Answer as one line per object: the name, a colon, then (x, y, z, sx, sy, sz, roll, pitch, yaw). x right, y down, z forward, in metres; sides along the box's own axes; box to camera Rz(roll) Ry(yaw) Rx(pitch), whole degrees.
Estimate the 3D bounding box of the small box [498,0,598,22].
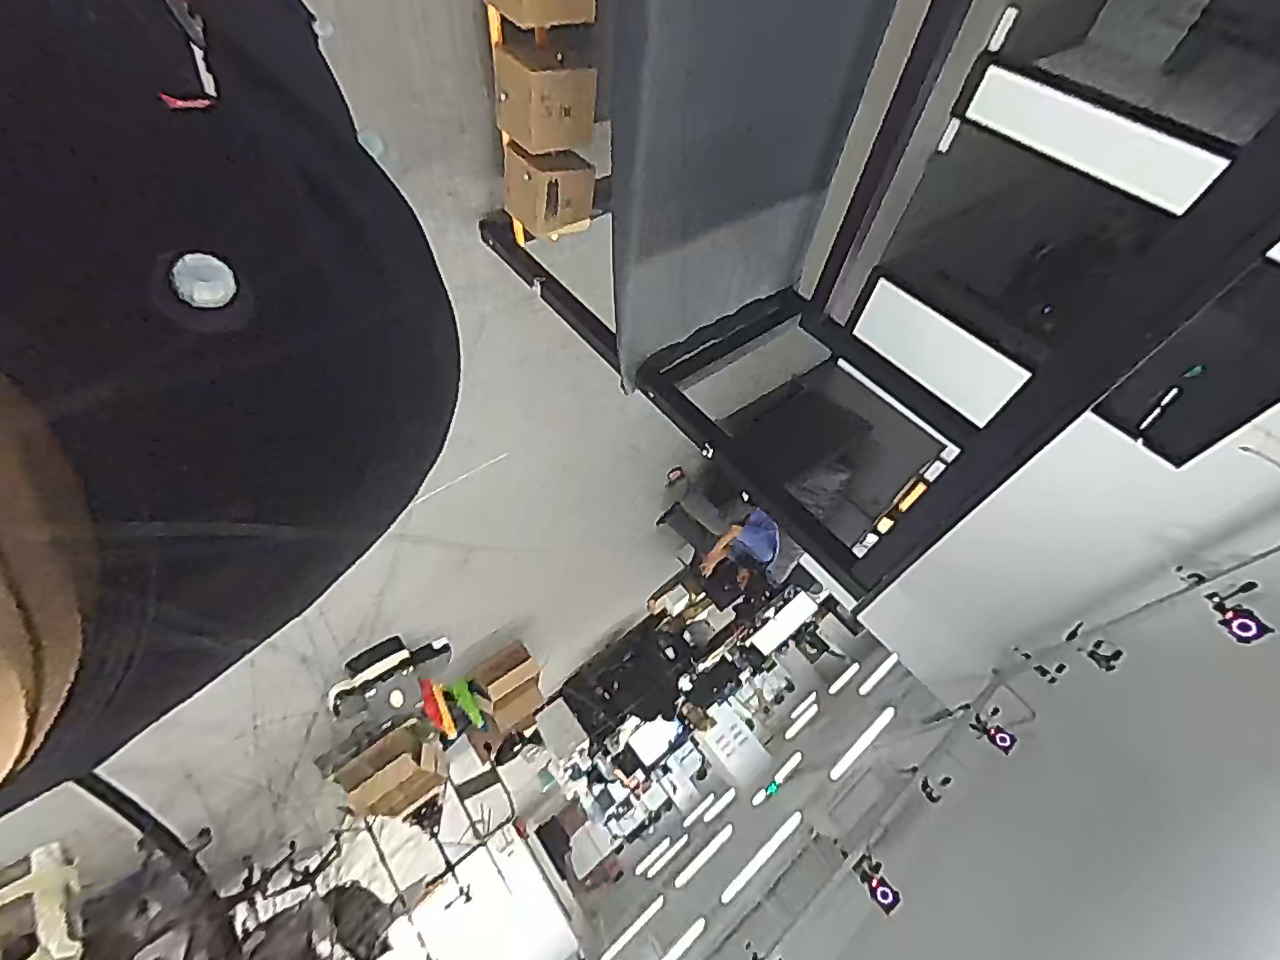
small box: (-0.196, -1.044, 1.068, 0.179, 0.176, 0.168, -28, 154, -24)
